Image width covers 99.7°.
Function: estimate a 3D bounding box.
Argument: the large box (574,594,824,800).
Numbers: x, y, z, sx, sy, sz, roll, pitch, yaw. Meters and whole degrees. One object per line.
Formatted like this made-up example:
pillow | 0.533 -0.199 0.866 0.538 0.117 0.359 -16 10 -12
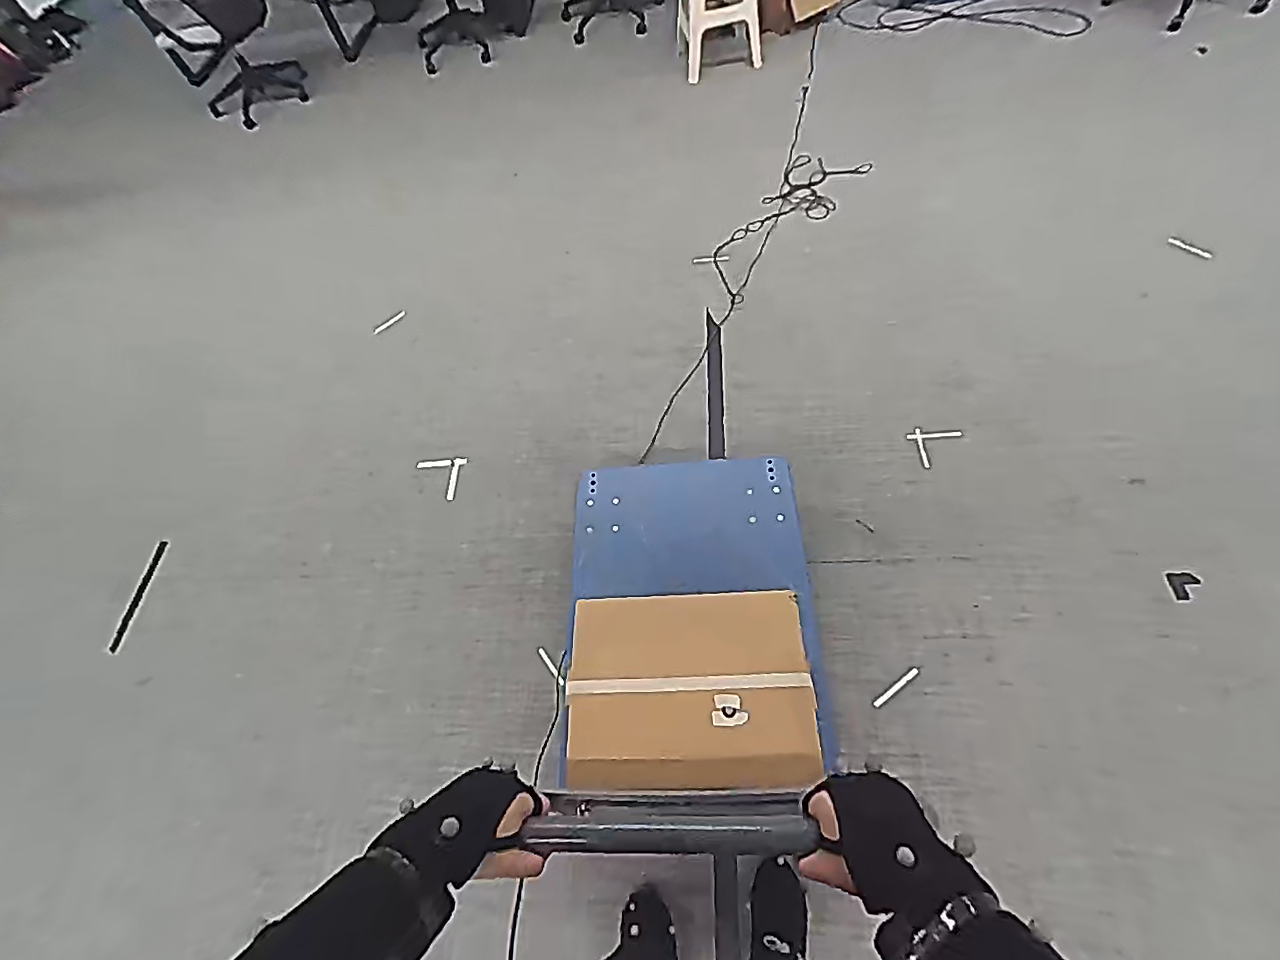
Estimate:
large box | 0.101 0.433 1.051 0.408 0.320 0.320 -4 59 5
